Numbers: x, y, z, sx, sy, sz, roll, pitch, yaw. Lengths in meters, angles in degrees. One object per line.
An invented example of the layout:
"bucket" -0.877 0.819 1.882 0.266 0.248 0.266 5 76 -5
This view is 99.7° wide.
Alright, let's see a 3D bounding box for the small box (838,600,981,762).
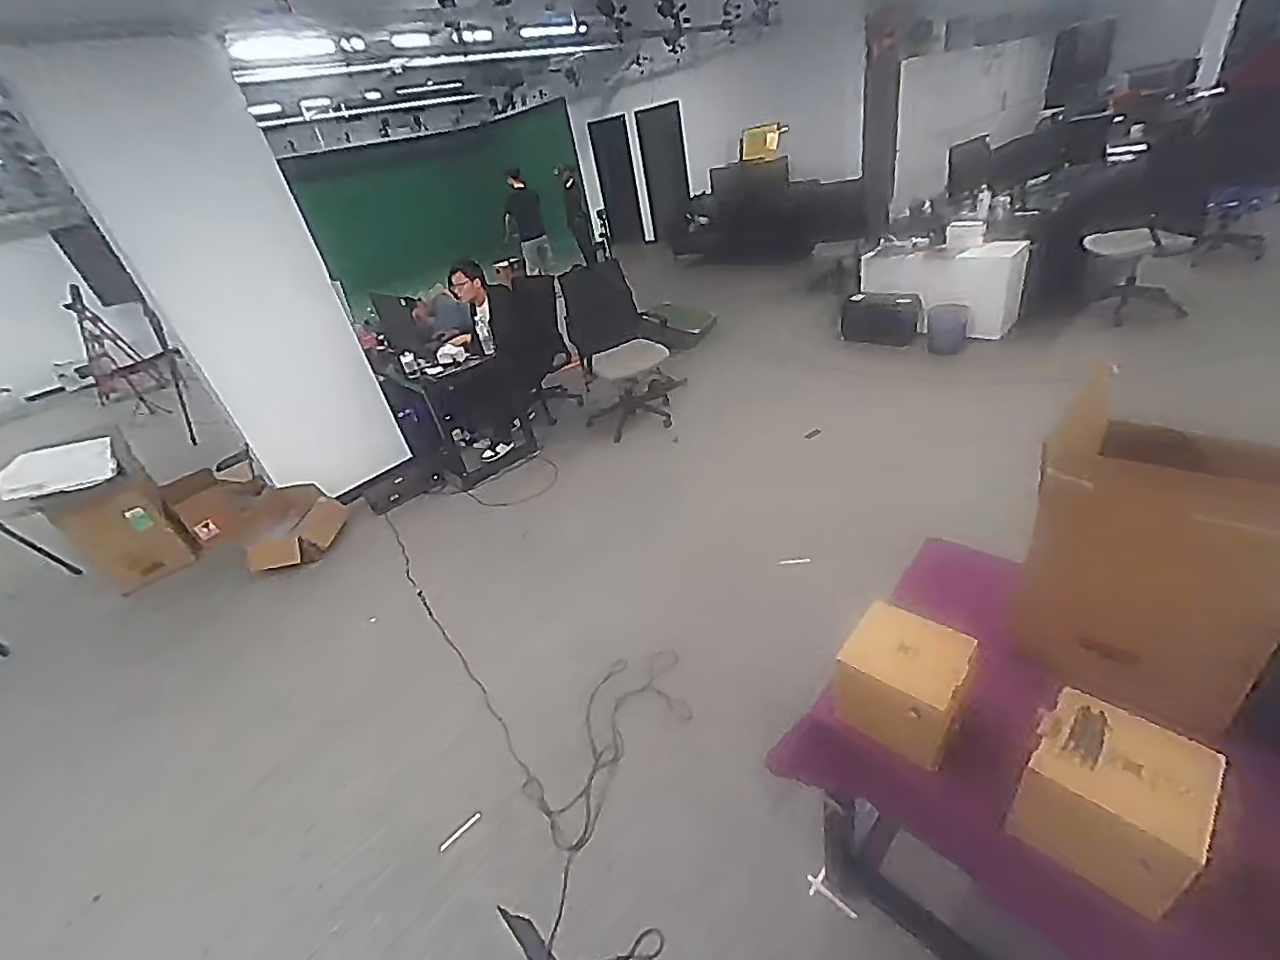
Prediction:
"small box" 0.464 0.350 0.948 0.179 0.176 0.168 20 44 39
